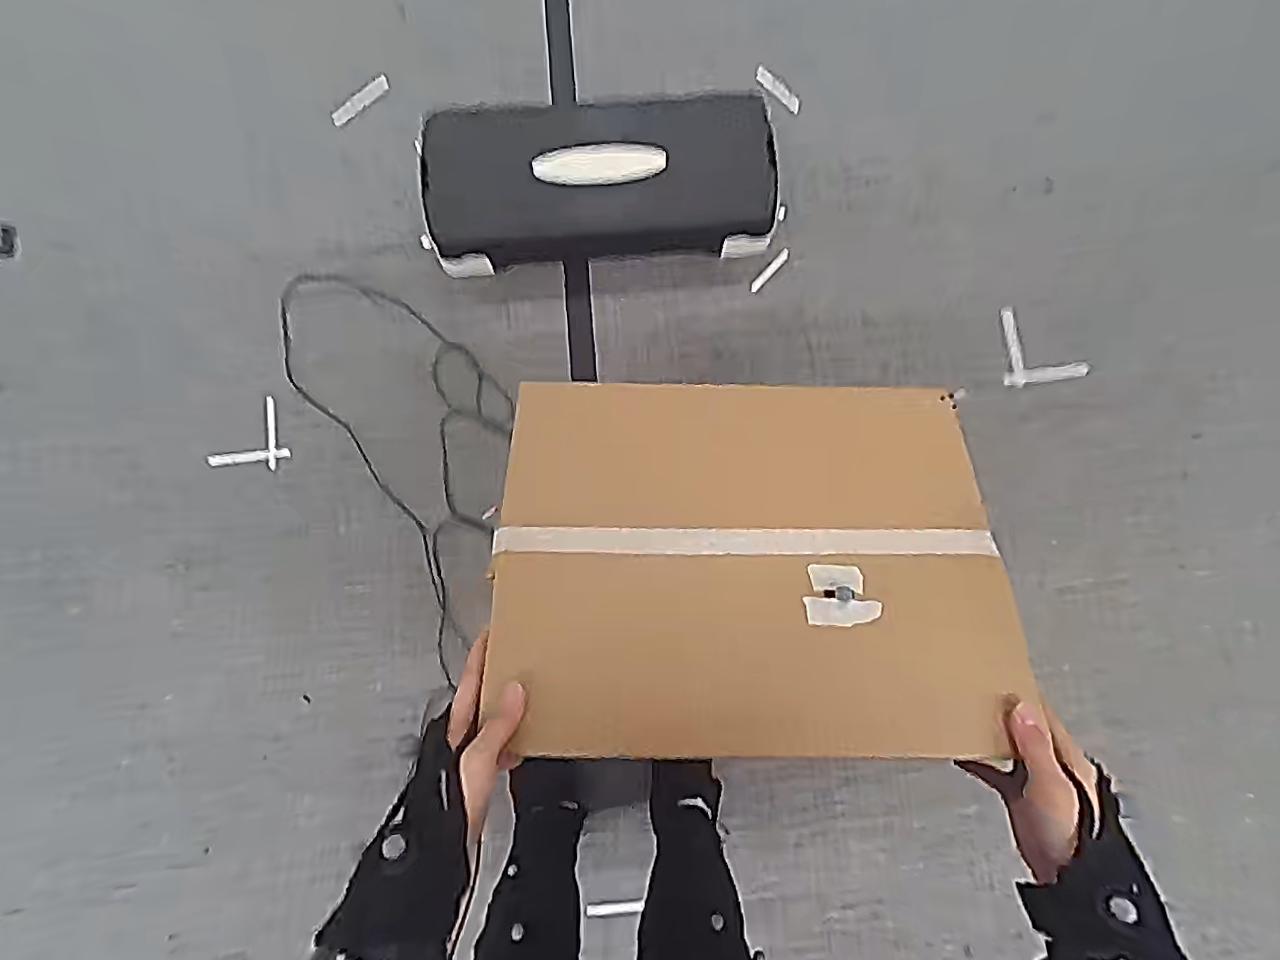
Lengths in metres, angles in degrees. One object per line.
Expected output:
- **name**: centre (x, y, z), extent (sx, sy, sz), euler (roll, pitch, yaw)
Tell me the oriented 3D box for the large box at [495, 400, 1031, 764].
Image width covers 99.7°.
- **large box**: centre (0.085, 0.126, 0.589), extent (0.408, 0.320, 0.320), euler (1, 65, -1)
